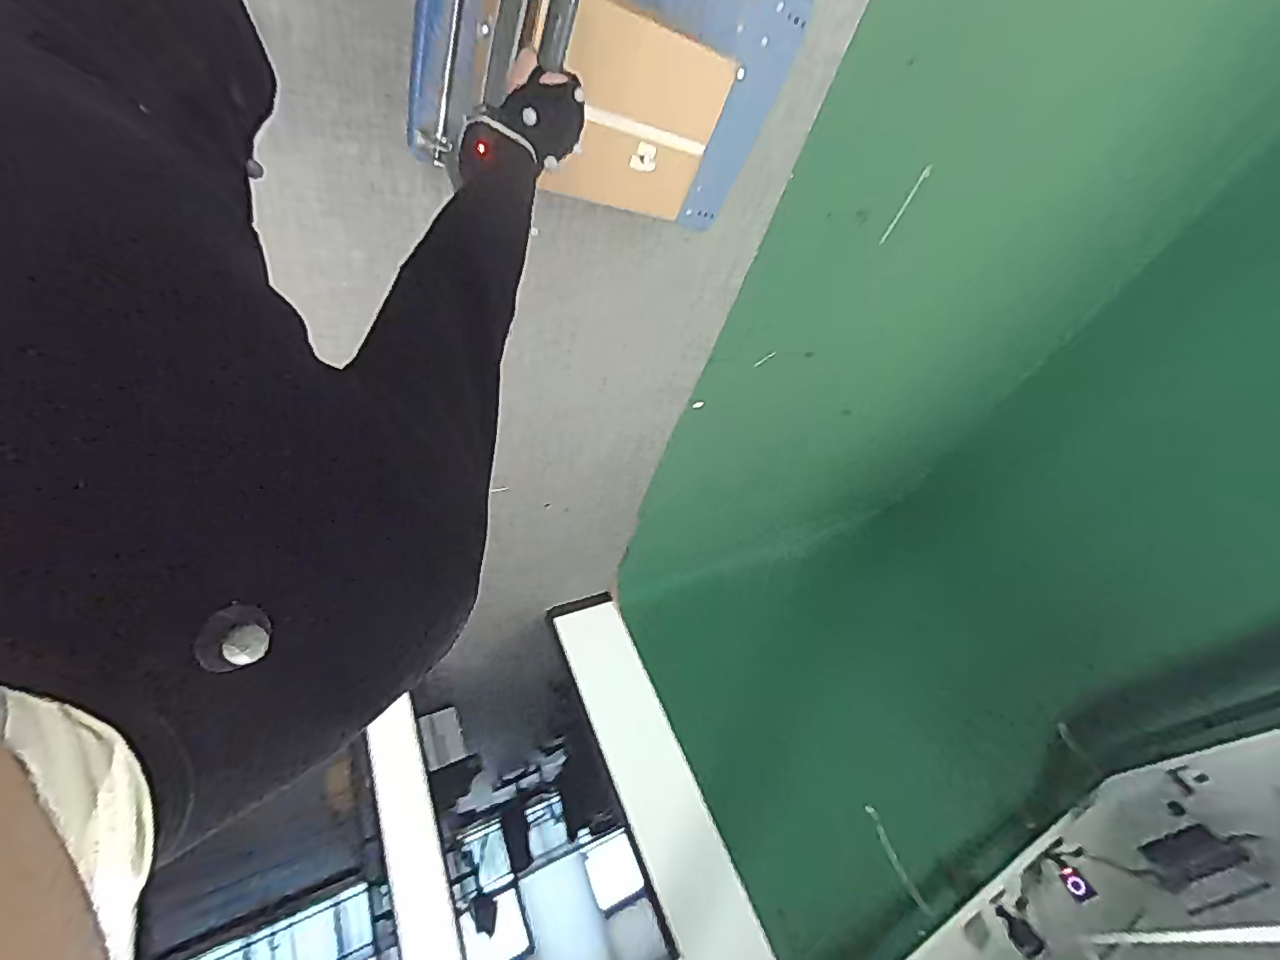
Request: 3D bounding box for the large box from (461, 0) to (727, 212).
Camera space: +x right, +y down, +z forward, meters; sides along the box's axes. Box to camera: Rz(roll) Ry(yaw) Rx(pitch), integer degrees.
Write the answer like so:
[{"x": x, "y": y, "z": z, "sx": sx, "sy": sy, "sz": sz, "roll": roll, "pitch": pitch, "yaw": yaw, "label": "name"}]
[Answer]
[{"x": -0.114, "y": -0.800, "z": 1.100, "sx": 0.408, "sy": 0.320, "sz": 0.320, "roll": -6, "pitch": 142, "yaw": -33, "label": "large box"}]
